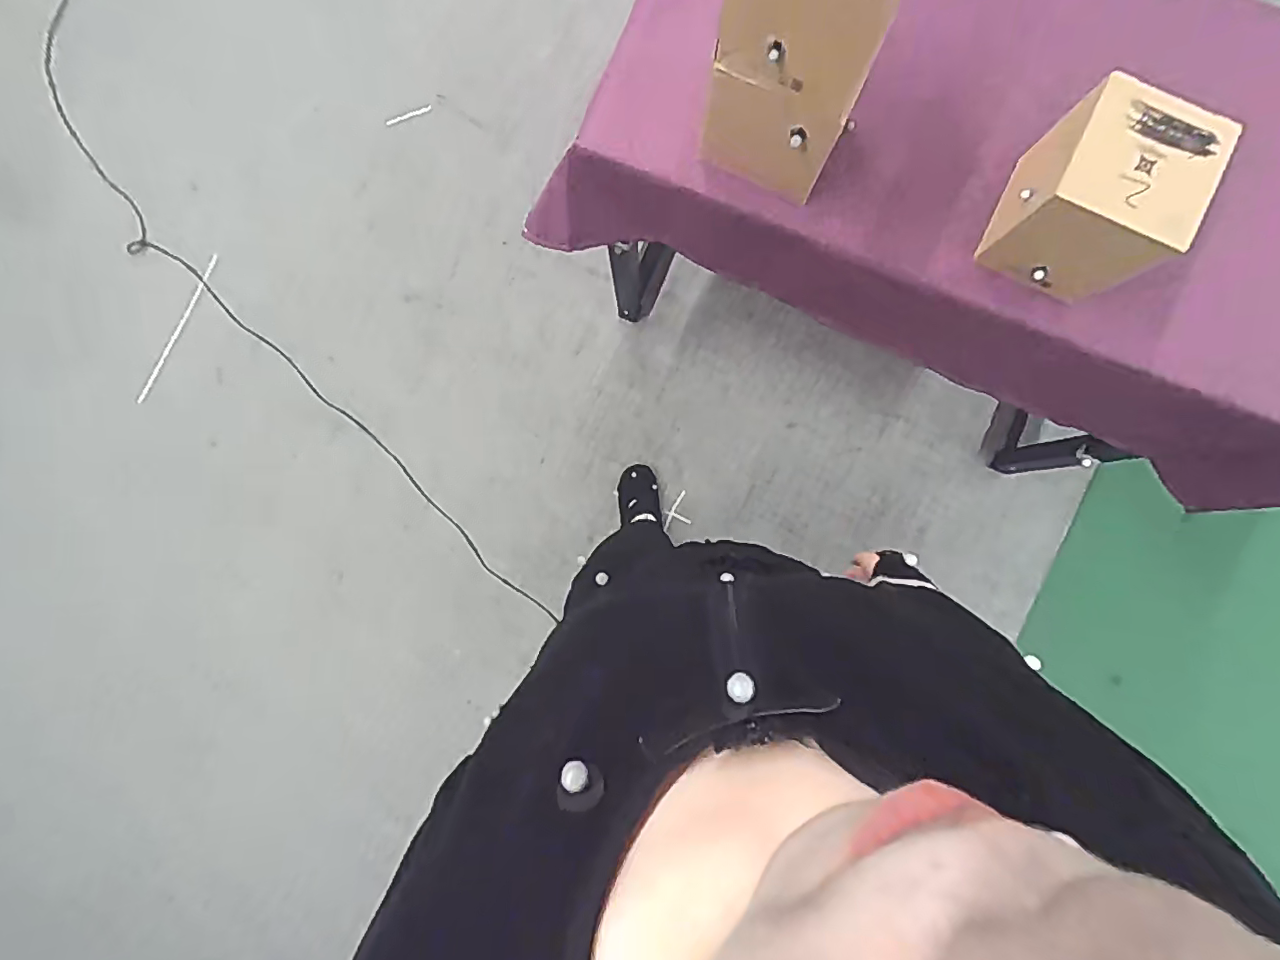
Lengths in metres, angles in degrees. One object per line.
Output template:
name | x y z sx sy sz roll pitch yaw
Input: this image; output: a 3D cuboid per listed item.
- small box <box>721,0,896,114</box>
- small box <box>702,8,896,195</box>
small box | 0.197 -0.546 0.569 0.168 0.176 0.179 26 88 3
small box | 0.199 -0.525 0.731 0.179 0.176 0.168 25 87 3
